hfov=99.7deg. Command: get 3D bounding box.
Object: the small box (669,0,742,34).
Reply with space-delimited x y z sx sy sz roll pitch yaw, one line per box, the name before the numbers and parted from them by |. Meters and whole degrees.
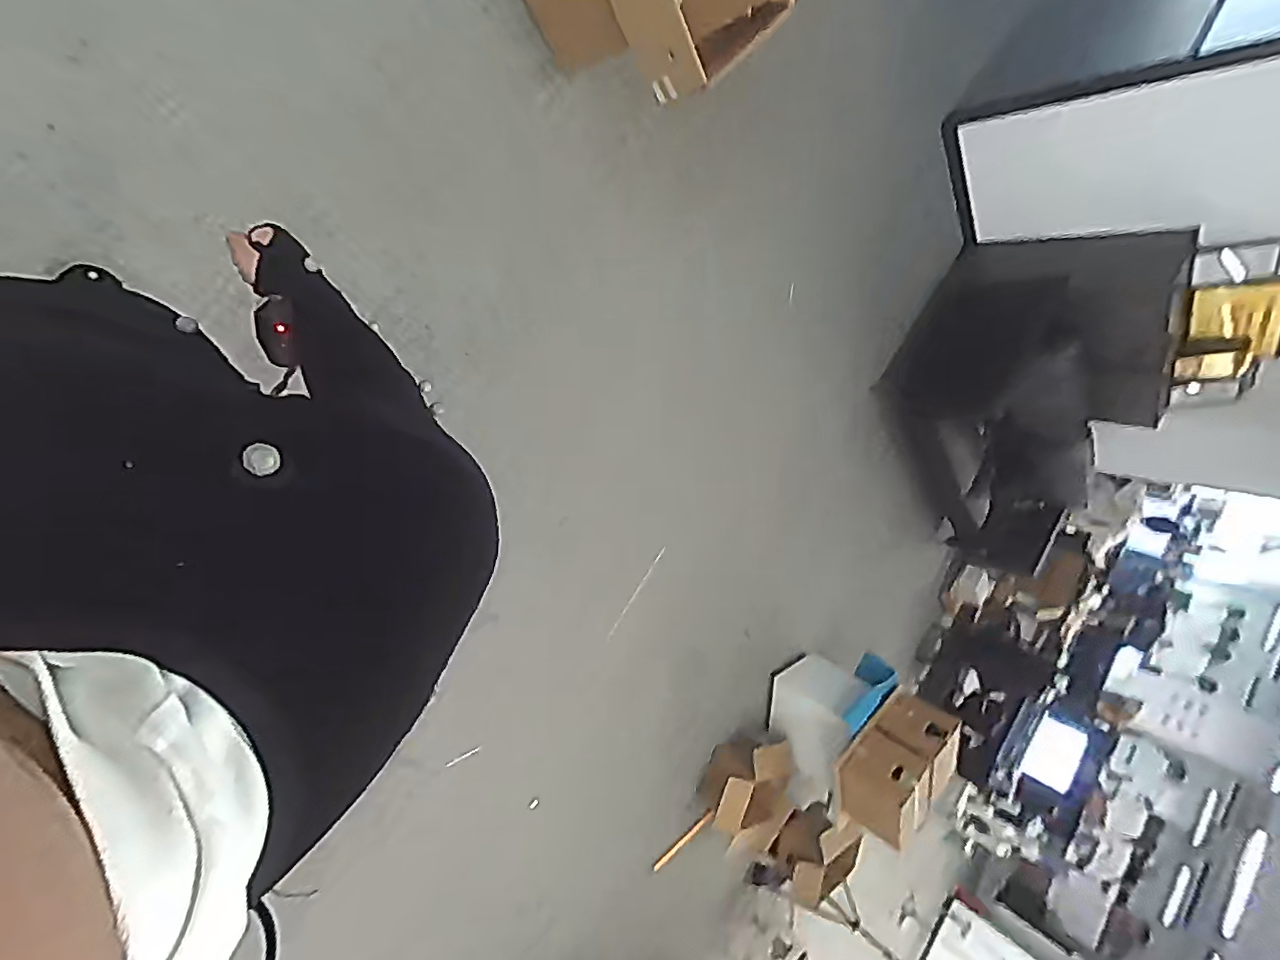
small box | 0.173 -1.200 1.269 0.179 0.176 0.168 -47 130 -18
